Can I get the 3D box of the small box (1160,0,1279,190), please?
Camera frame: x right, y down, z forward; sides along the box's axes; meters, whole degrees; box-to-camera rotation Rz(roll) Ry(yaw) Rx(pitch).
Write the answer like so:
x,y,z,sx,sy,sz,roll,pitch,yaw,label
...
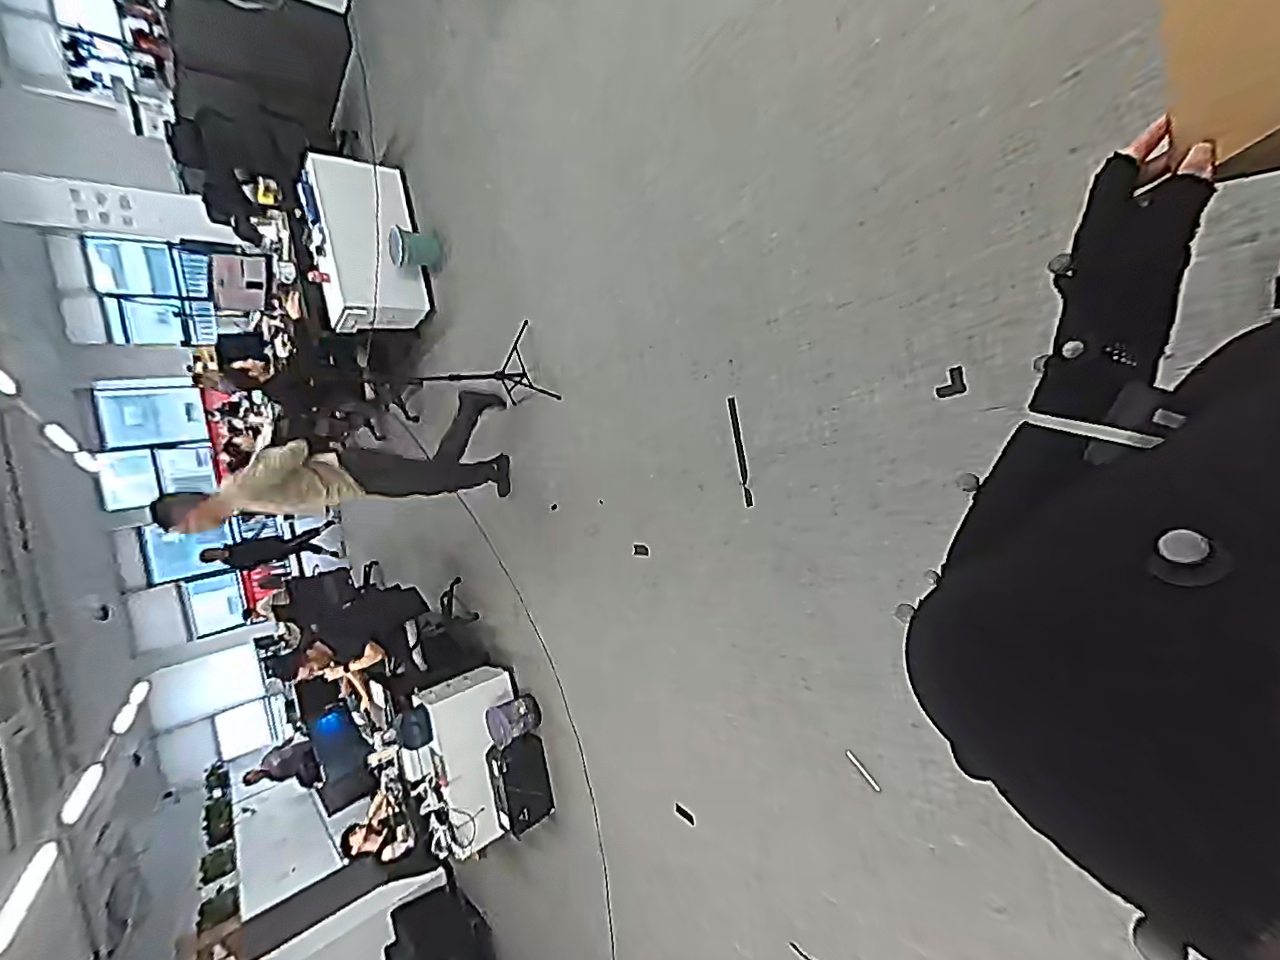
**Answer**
x,y,z,sx,sy,sz,roll,pitch,yaw,label
0.405,-0.279,0.263,0.179,0.168,0.176,-7,96,17,small box
